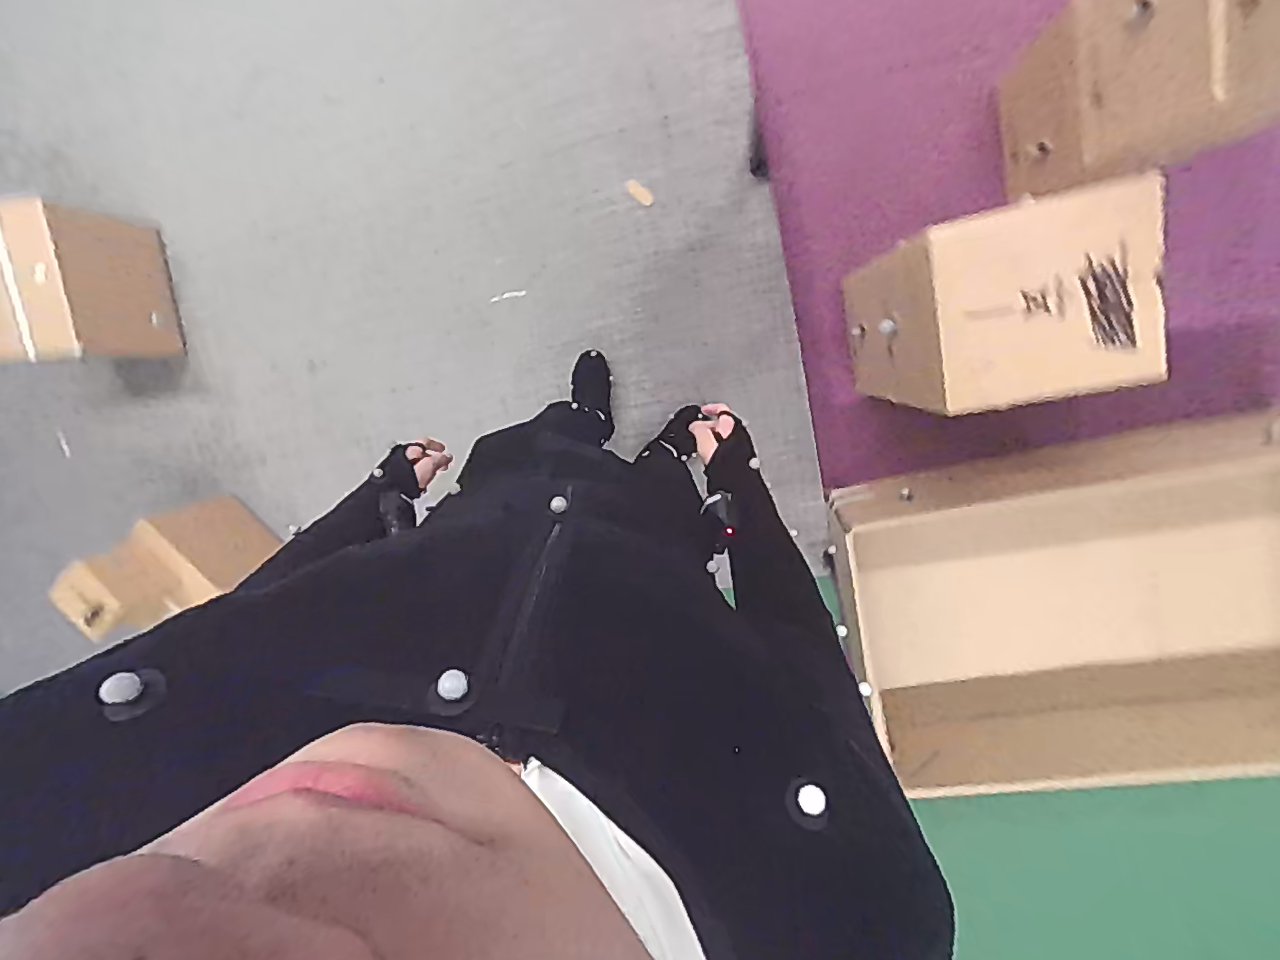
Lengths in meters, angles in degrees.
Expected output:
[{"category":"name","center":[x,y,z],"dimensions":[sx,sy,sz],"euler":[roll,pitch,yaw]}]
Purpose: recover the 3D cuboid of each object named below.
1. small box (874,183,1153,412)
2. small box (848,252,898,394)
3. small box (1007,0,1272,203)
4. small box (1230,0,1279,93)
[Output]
[{"category":"small box","center":[0.358,-0.172,0.547],"dimensions":[0.179,0.176,0.168],"euler":[-9,101,10]},{"category":"small box","center":[0.380,-0.211,0.705],"dimensions":[0.179,0.176,0.168],"euler":[-9,102,10]},{"category":"small box","center":[0.556,-0.444,0.628],"dimensions":[0.179,0.176,0.168],"euler":[-10,102,10]},{"category":"small box","center":[0.510,-0.369,0.314],"dimensions":[0.179,0.176,0.168],"euler":[-11,102,11]}]
